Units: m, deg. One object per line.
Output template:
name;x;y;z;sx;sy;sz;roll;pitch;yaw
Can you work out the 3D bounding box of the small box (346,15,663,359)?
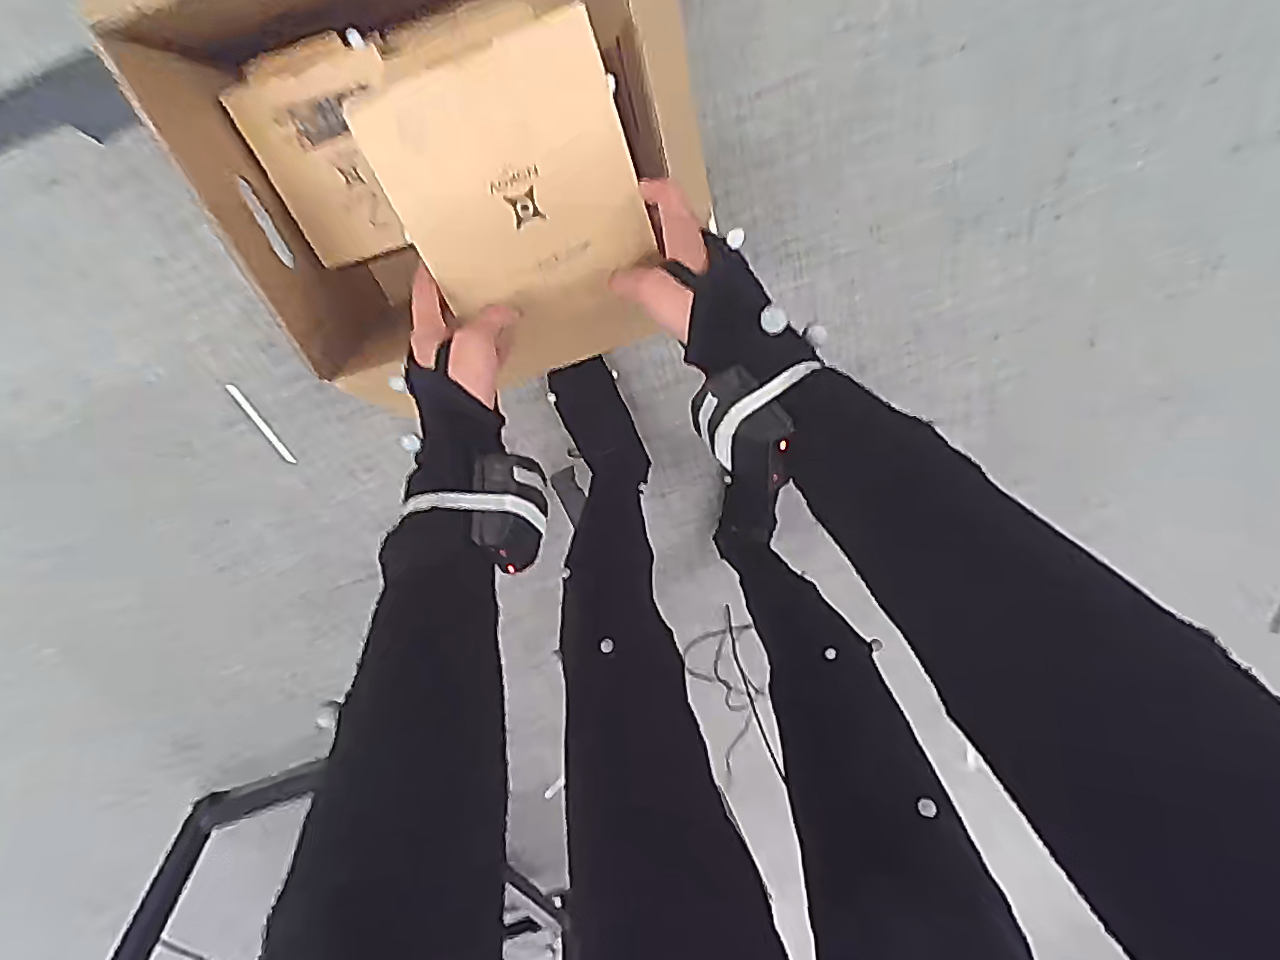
small box;-0.098;-0.230;0.445;0.168;0.176;0.179;-21;124;1
